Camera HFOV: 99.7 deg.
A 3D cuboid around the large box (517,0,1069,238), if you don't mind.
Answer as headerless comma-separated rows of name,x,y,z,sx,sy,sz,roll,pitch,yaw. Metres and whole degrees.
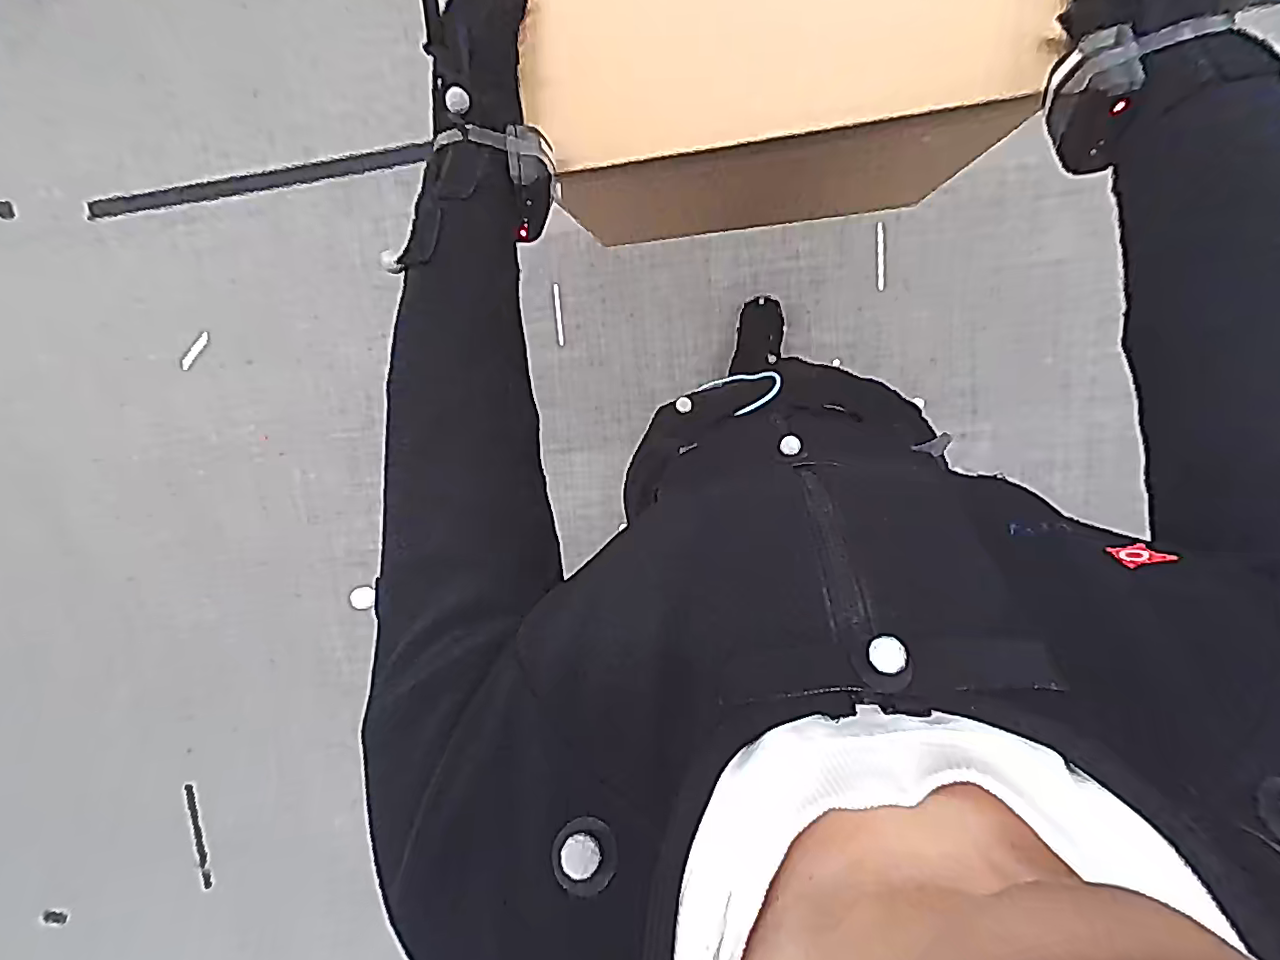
large box,0.110,-0.459,0.530,0.408,0.320,0.320,-5,103,8
